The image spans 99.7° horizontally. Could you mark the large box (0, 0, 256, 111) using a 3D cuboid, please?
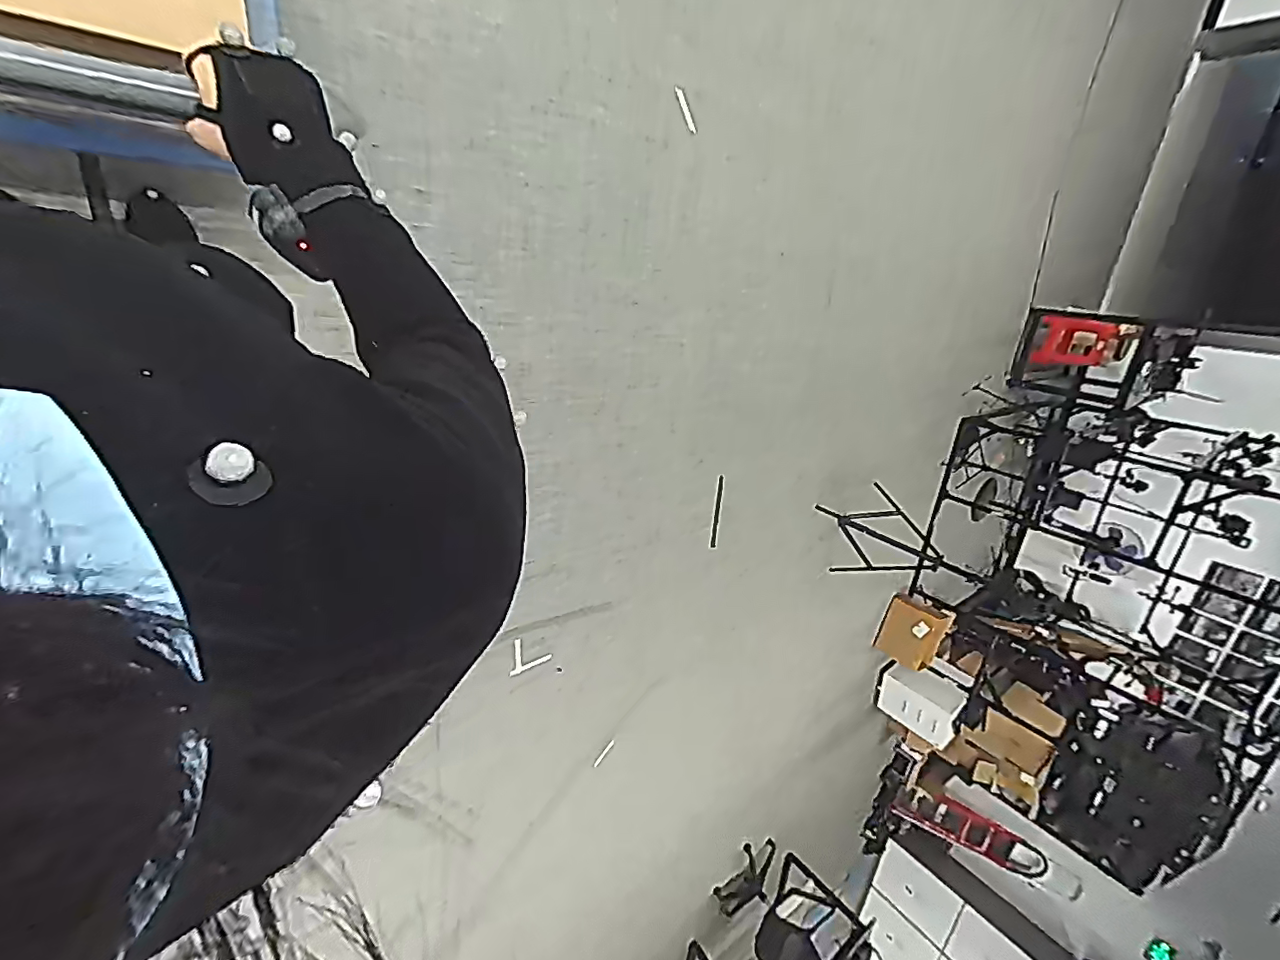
[{"bbox_3d":[-0.748,-0.688,0.647,0.408,0.320,0.320,-13,118,-38],"label":"large box"}]
